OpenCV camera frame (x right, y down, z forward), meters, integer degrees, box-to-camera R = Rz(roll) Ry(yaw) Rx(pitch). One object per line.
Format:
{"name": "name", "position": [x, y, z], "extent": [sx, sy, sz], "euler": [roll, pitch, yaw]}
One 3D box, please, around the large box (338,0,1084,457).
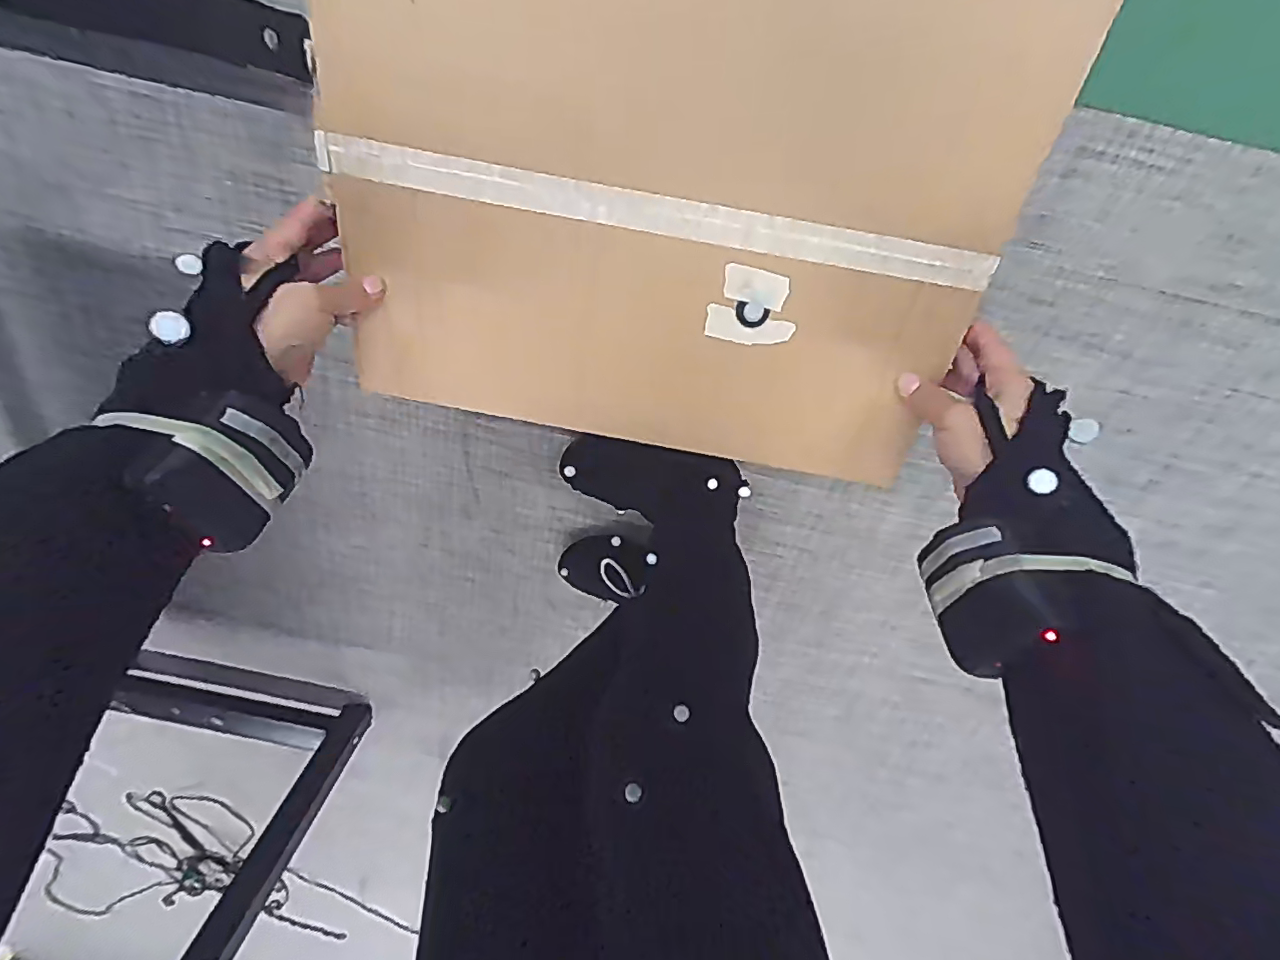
{"name": "large box", "position": [0.026, -0.249, 0.468], "extent": [0.408, 0.320, 0.320], "euler": [9, 122, -1]}
